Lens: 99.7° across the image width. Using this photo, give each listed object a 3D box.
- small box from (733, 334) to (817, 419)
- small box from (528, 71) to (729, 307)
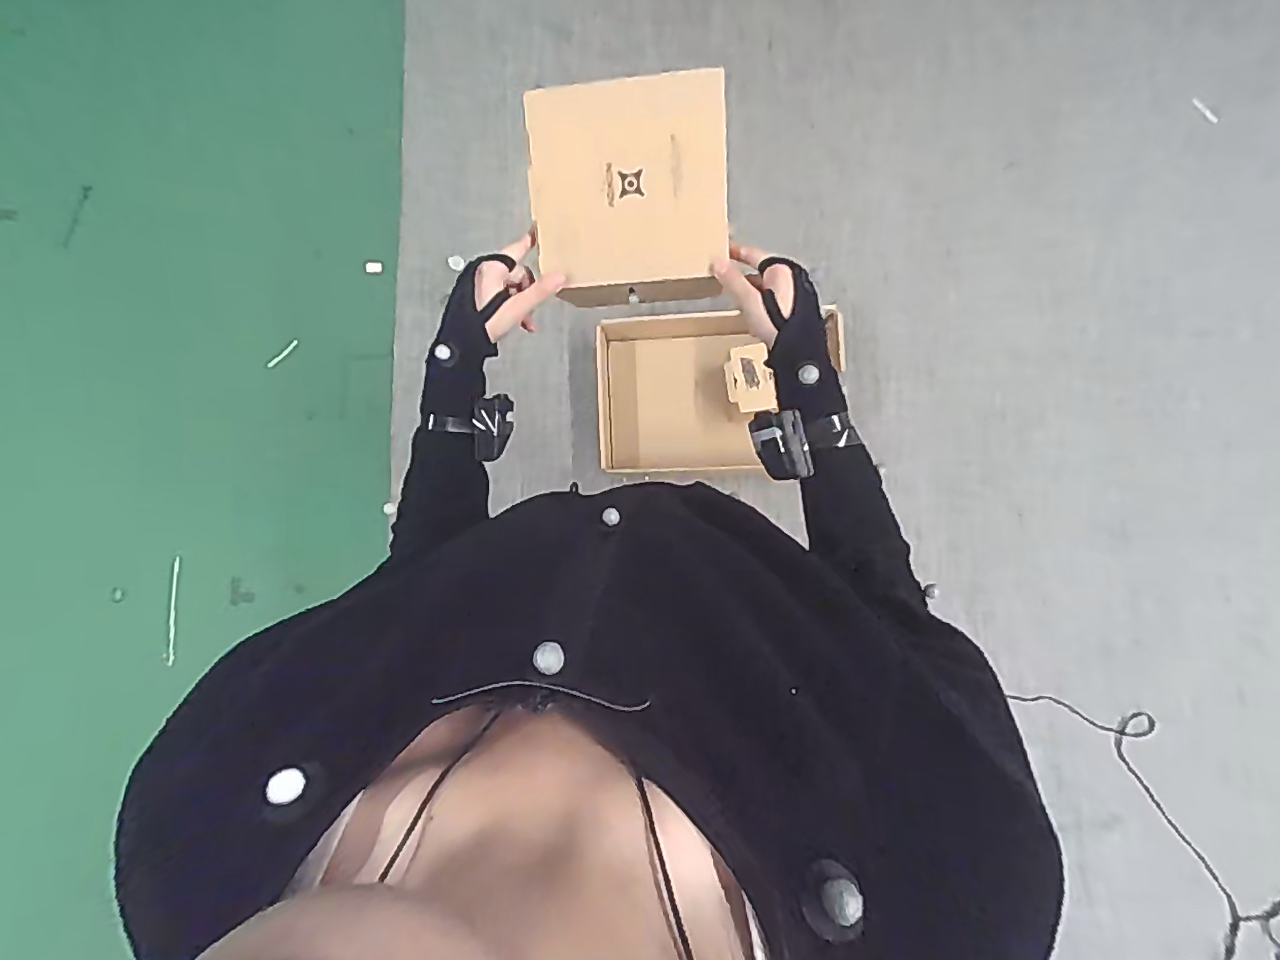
[{"bbox_3d":[0.338,-0.257,1.389,0.179,0.176,0.168,-9,87,4],"label":"small box"},{"bbox_3d":[0.001,-0.276,0.556,0.179,0.176,0.168,-2,102,8],"label":"small box"}]
